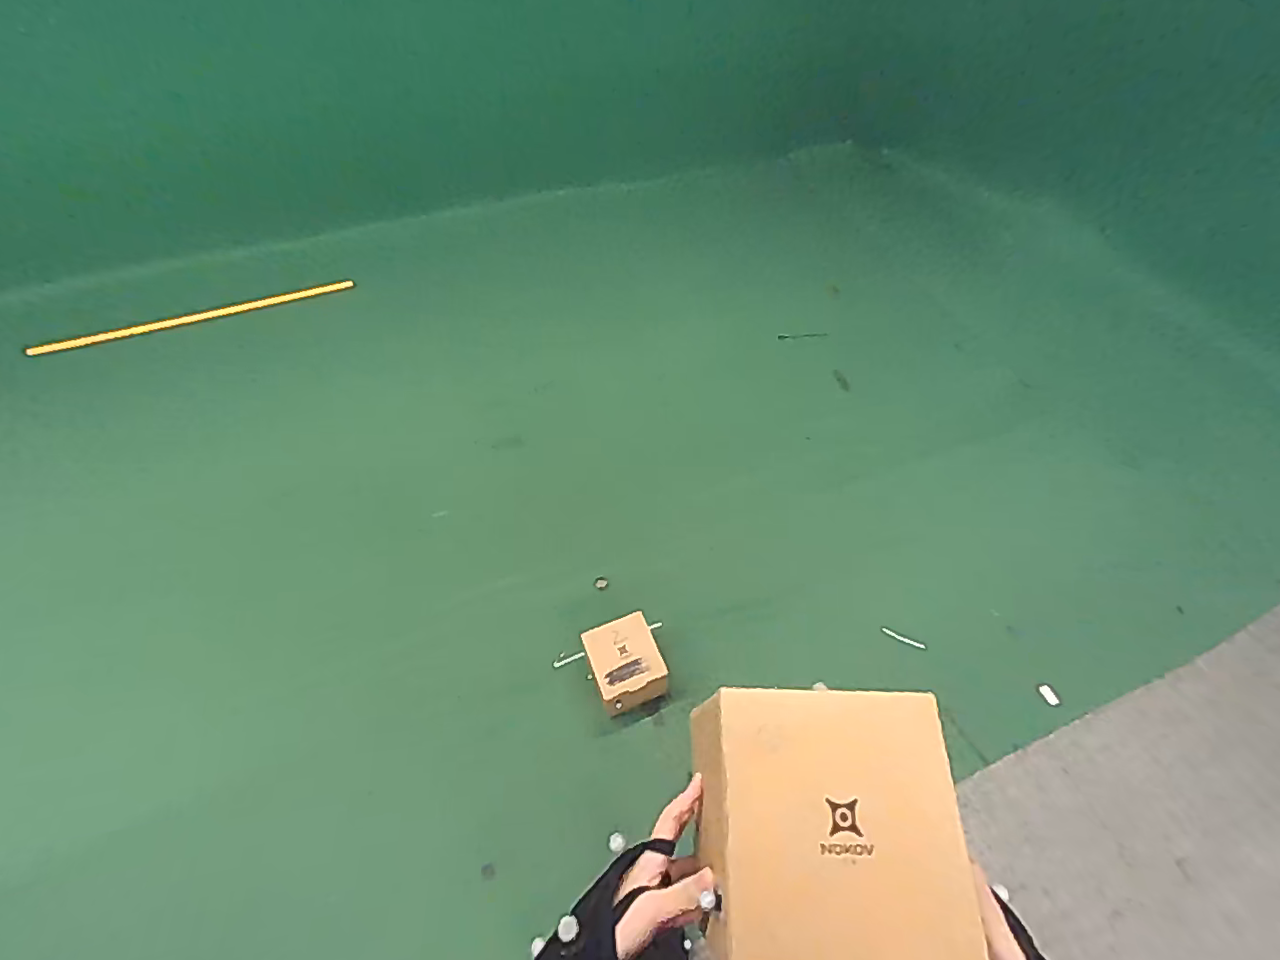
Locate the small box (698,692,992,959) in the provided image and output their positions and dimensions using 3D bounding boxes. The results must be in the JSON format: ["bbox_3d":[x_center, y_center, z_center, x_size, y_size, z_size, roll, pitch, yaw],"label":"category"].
[{"bbox_3d":[0.140,0.279,0.443,0.168,0.176,0.179,1,63,-1],"label":"small box"}]
